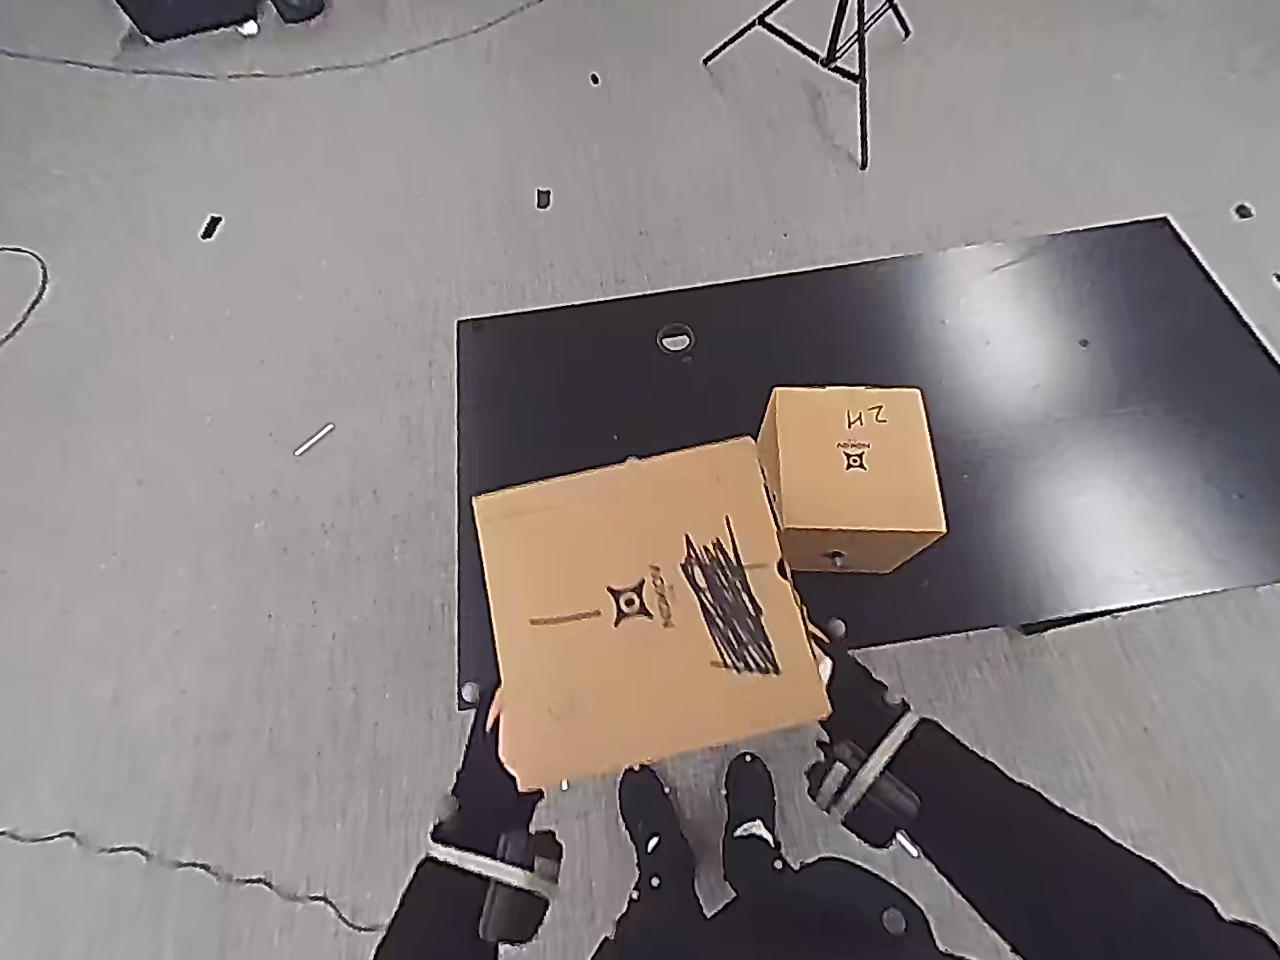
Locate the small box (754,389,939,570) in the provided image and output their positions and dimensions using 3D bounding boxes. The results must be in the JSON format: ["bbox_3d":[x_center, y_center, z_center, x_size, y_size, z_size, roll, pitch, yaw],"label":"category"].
[{"bbox_3d":[0.236,0.007,0.665,0.168,0.176,0.179,1,65,4],"label":"small box"}]
